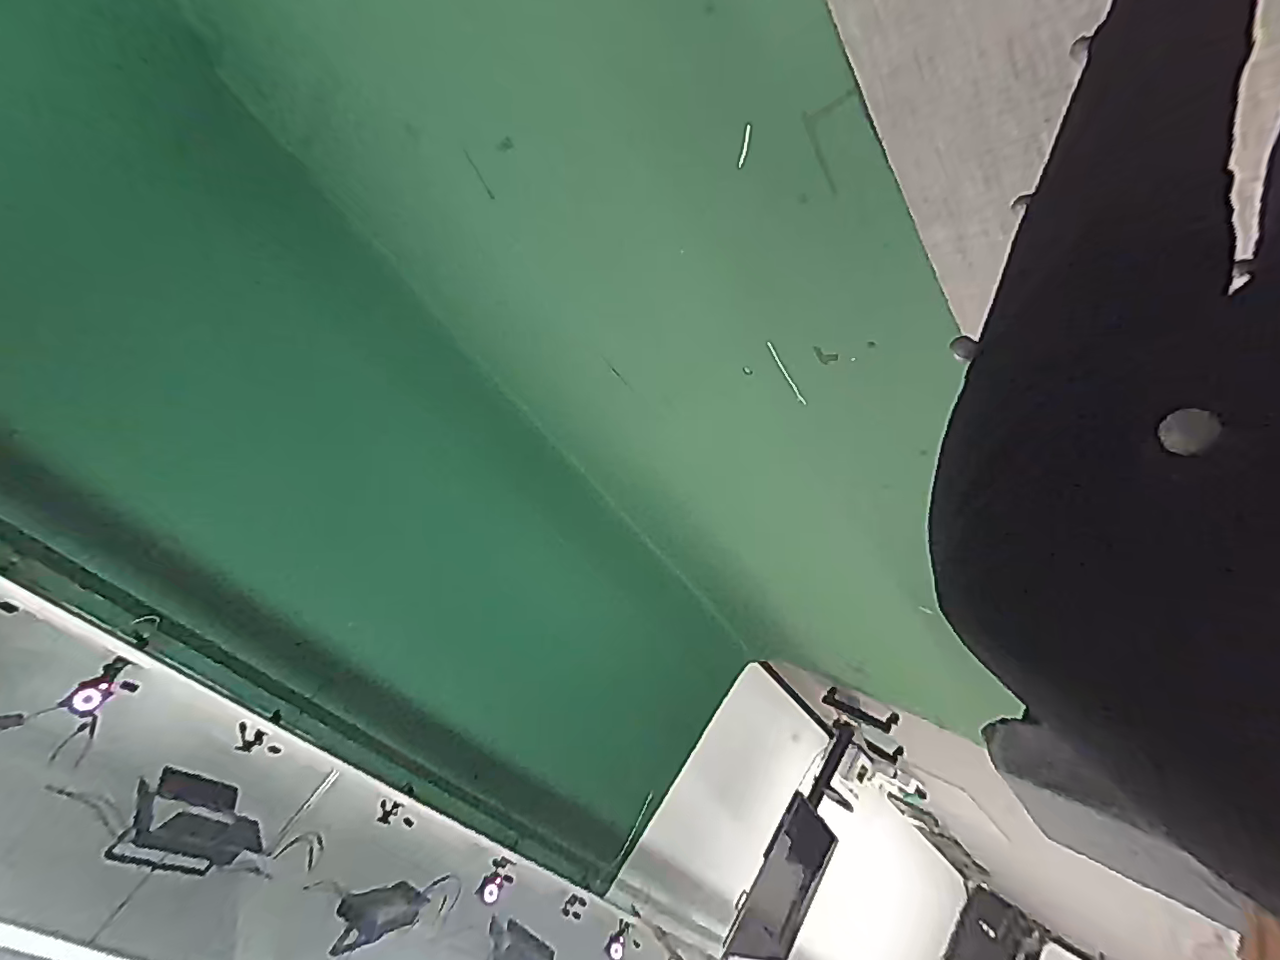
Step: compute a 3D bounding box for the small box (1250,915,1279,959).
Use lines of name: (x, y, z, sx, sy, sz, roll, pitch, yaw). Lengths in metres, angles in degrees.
small box: (1.626, 1.207, 1.313, 0.168, 0.176, 0.179, 49, 156, -26)
